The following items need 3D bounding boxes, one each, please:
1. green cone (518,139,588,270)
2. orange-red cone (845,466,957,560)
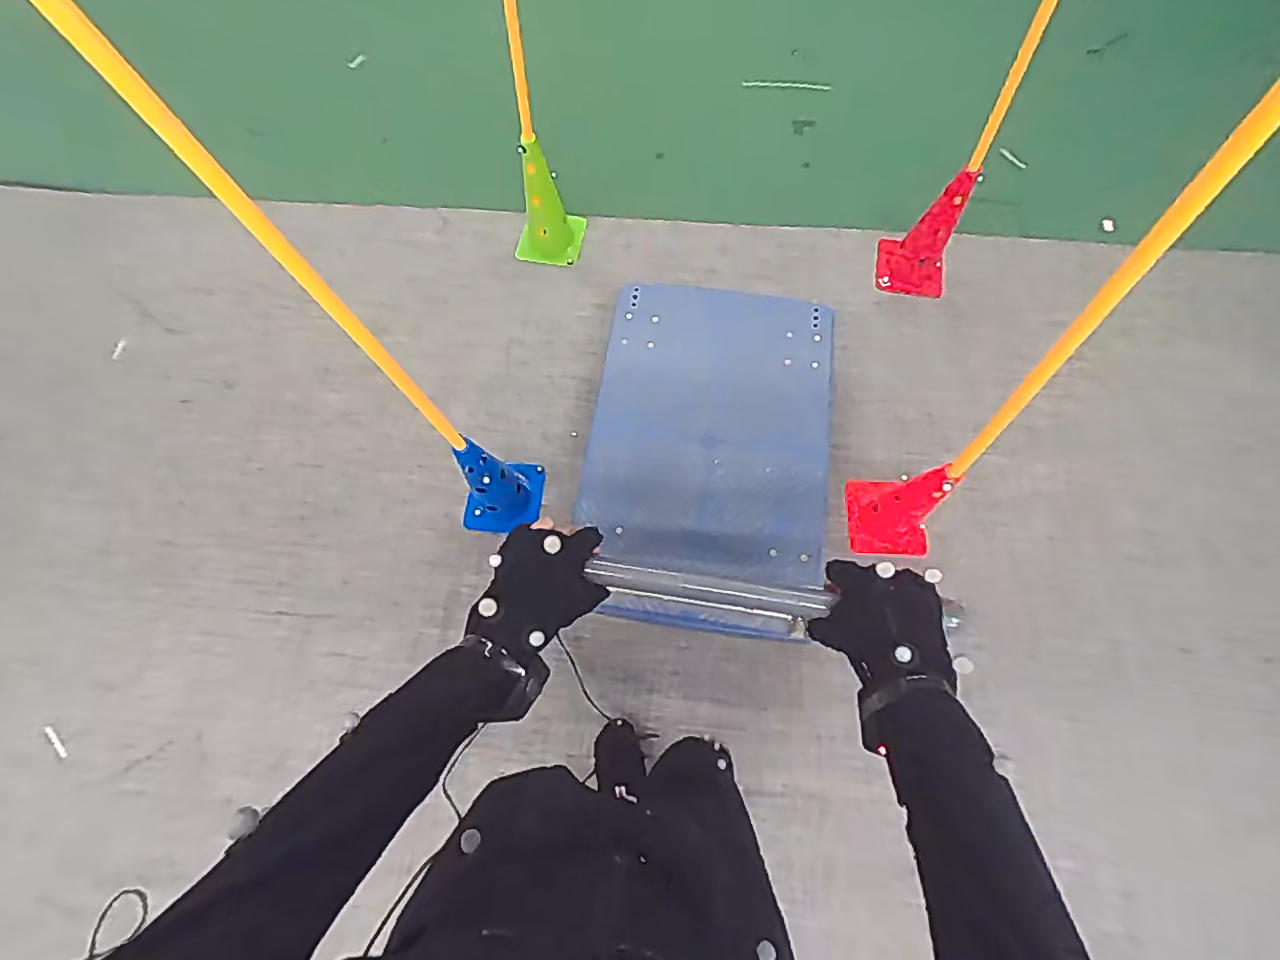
[{"bbox_3d":[-0.288,-0.831,1.599,0.202,0.368,0.200,9,70,5],"label":"green cone"},{"bbox_3d":[0.635,0.052,1.266,0.199,0.360,0.198,4,70,4],"label":"orange-red cone"}]
